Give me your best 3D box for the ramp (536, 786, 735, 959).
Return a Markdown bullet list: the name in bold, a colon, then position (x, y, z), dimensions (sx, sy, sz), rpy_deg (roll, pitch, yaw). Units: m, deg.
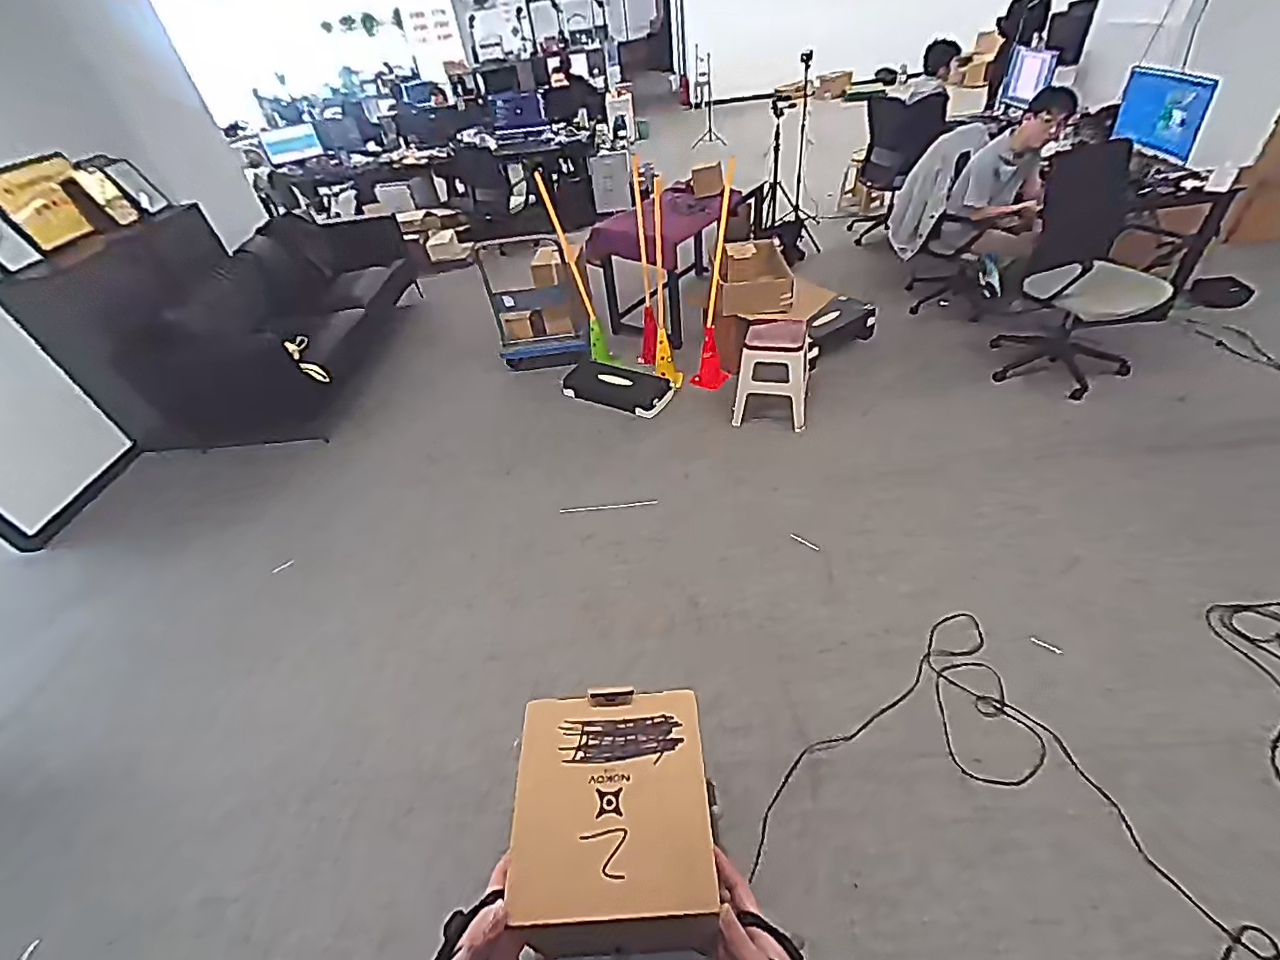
- **ramp**: position (-0.017, 1.215, 1.230), dimensions (0.509, 0.206, 0.991), rpy_deg (-7, 41, 3)
